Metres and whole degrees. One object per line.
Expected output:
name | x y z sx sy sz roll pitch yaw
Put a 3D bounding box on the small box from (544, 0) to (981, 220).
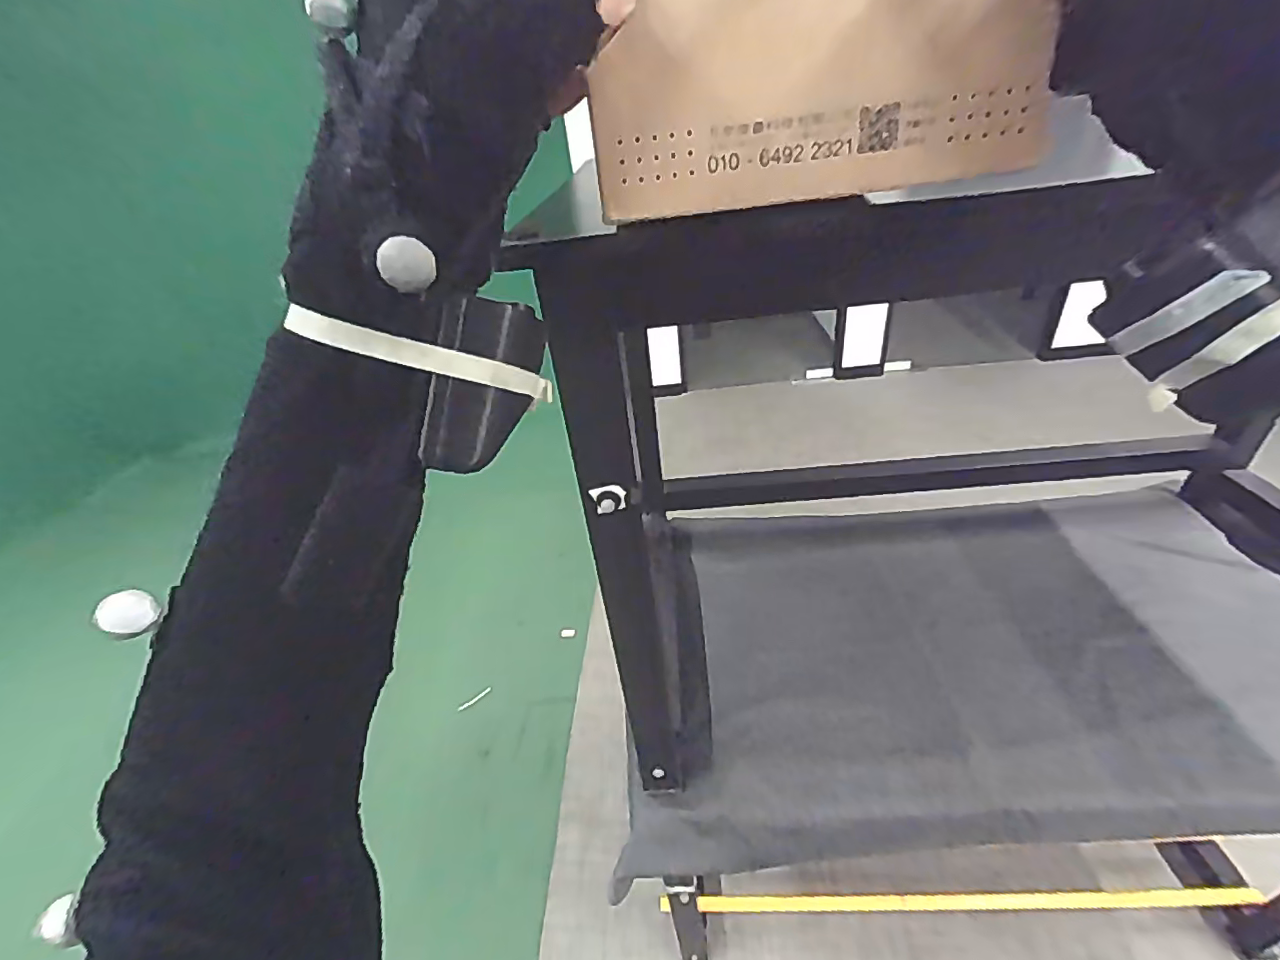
small box | 0.045 -0.228 0.260 0.168 0.176 0.179 -5 26 3
